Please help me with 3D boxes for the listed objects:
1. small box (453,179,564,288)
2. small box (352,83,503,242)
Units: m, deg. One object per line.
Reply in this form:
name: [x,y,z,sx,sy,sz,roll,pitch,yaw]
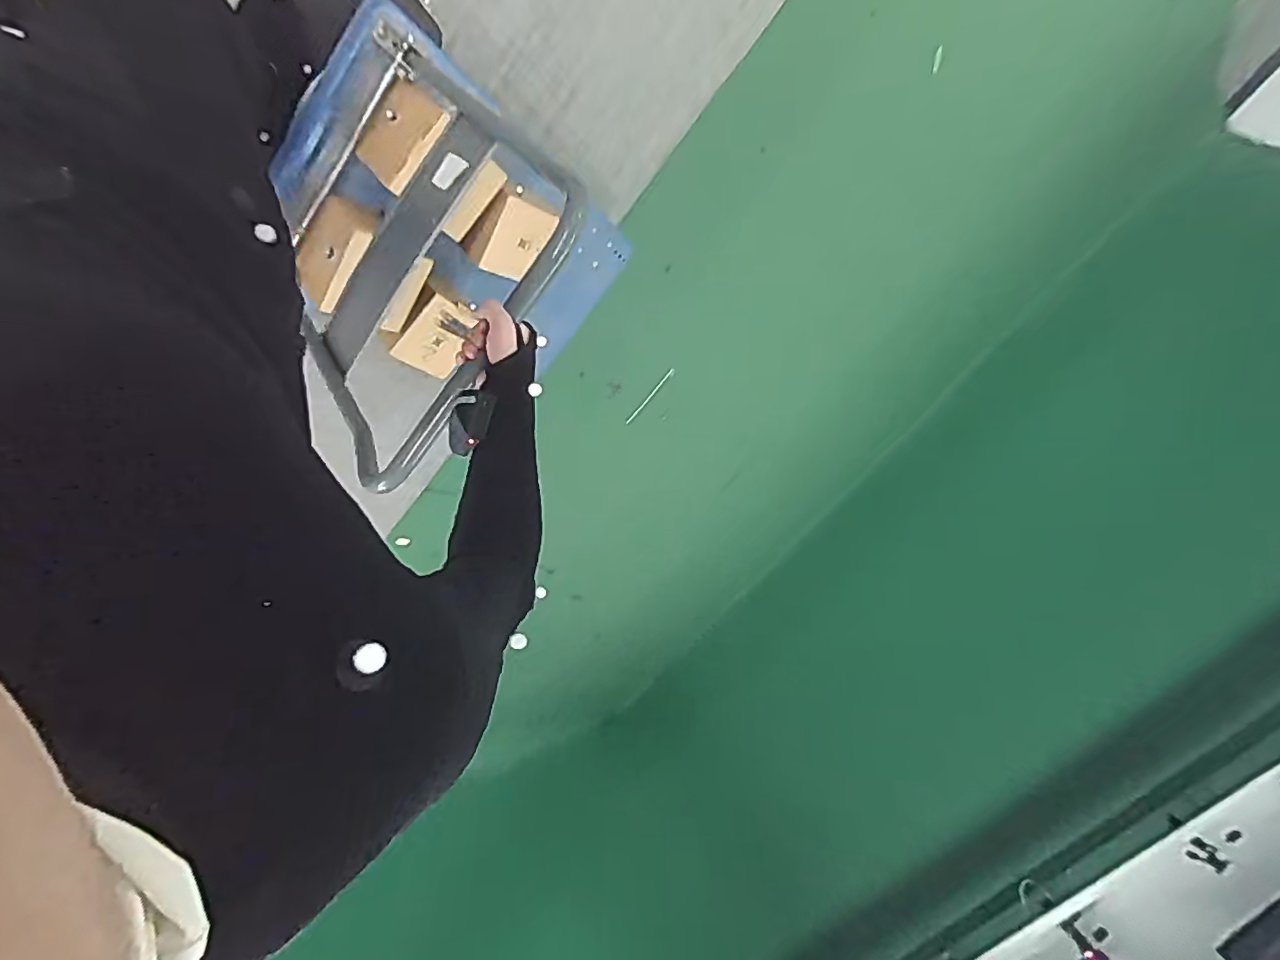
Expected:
small box: [-0.313,-0.572,1.229,0.179,0.176,0.168,-3,135,-54]
small box: [-0.408,-0.607,1.039,0.168,0.176,0.179,-47,154,11]
